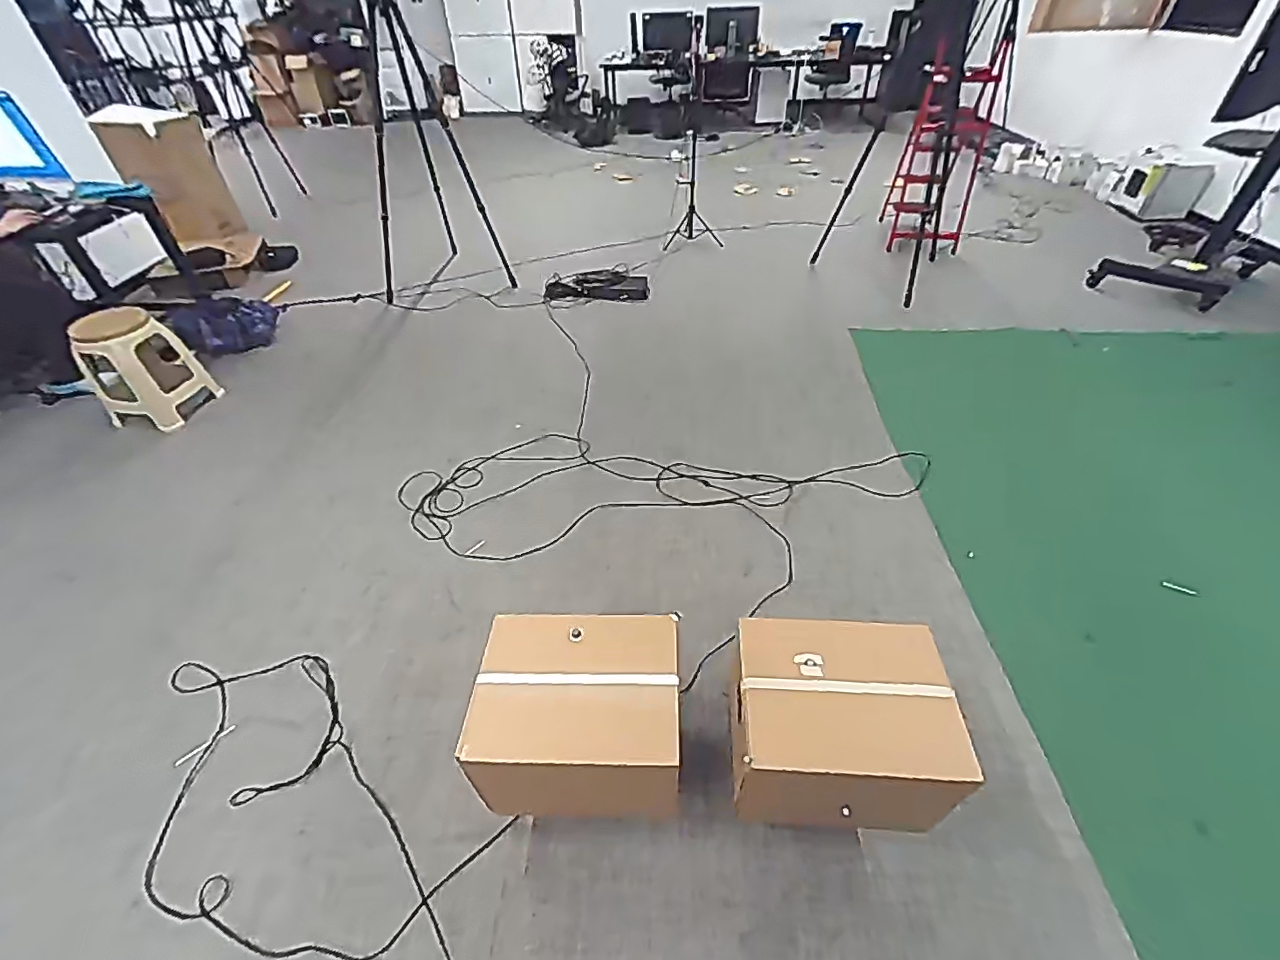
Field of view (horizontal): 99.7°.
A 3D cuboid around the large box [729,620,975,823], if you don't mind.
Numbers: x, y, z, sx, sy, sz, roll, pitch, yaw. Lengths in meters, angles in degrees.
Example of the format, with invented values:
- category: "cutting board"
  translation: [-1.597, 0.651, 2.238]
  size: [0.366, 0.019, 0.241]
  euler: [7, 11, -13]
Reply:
- category: "large box"
  translation: [0.412, 0.523, 1.174]
  size: [0.408, 0.320, 0.320]
  euler: [1, 43, 4]
